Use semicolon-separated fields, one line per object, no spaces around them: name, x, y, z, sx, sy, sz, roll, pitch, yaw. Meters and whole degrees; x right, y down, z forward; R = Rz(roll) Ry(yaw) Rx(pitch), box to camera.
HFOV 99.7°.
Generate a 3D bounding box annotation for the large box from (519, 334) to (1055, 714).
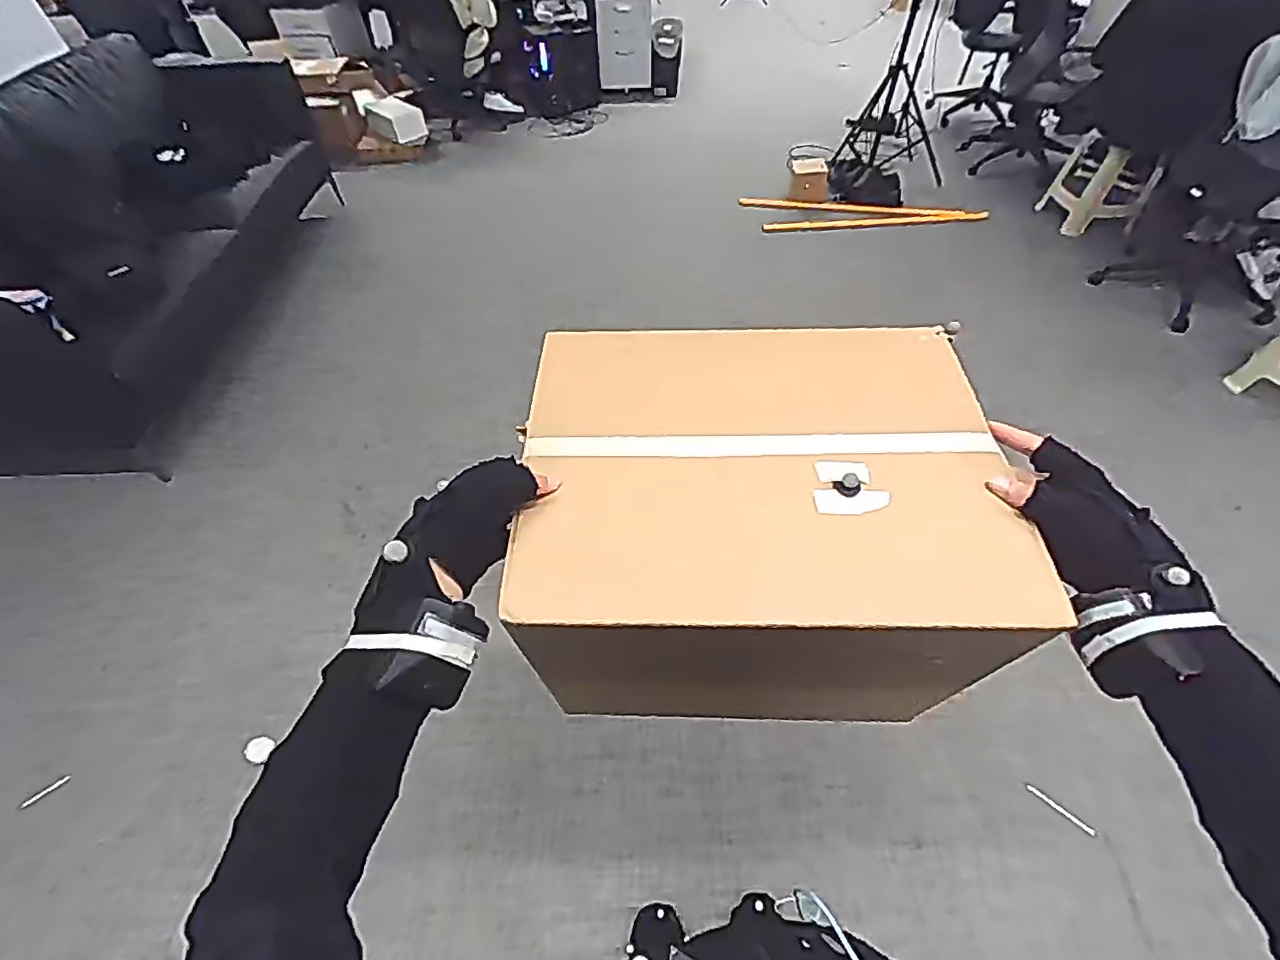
large box;0.107;0.061;0.601;0.408;0.320;0.320;0;55;1
